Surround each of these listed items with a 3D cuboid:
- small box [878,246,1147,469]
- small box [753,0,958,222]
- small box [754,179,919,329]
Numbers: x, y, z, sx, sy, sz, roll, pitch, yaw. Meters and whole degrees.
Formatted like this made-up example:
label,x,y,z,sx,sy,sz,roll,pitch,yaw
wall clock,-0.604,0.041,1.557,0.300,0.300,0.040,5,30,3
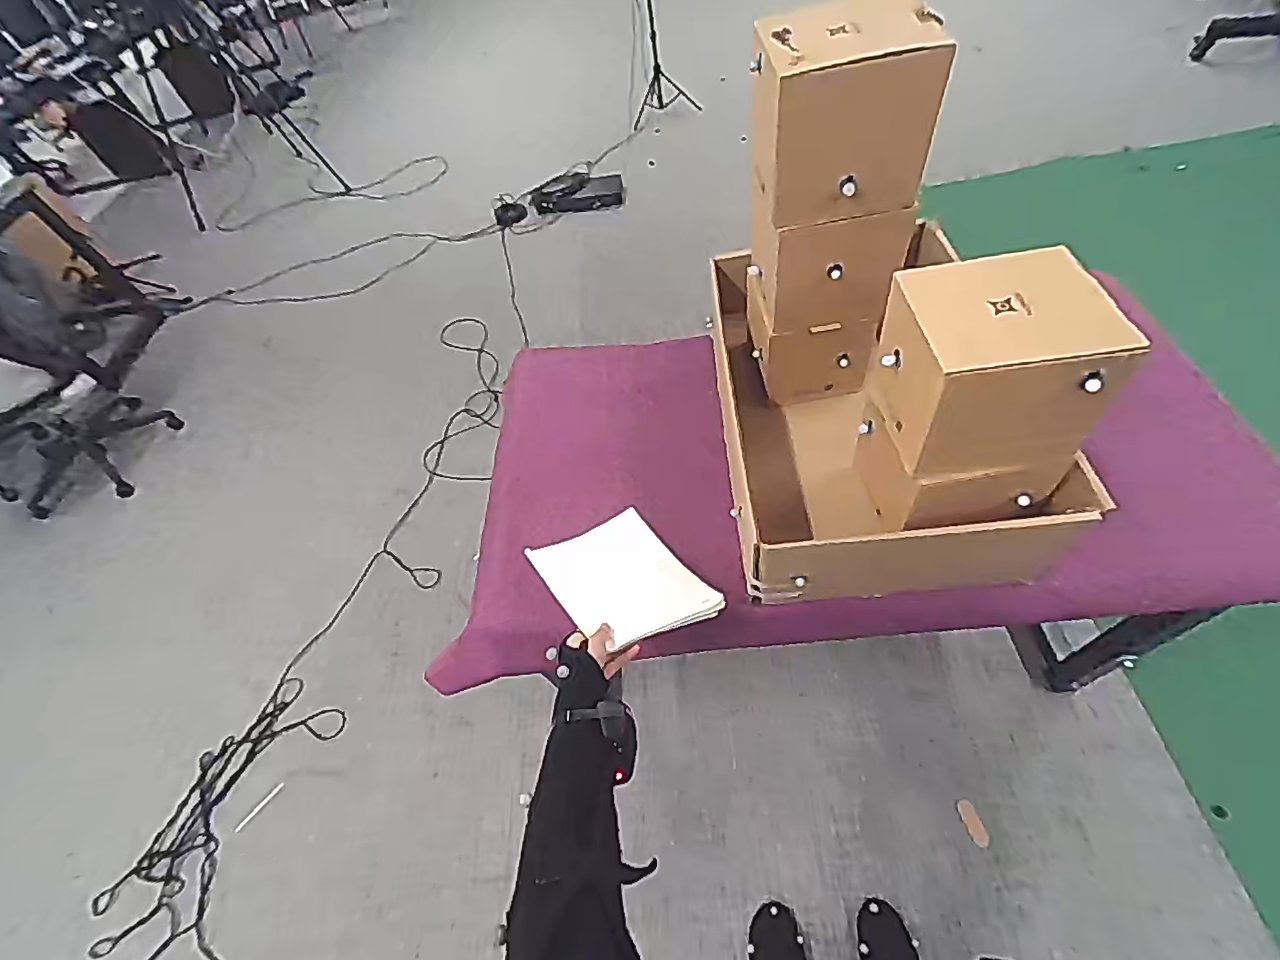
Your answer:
label,x,y,z,sx,sy,sz,roll,pitch,yaw
small box,0.378,-0.127,0.597,0.179,0.176,0.168,-6,53,7
small box,0.237,-0.439,0.649,0.179,0.176,0.168,-6,55,6
small box,0.266,-0.344,0.780,0.179,0.176,0.168,-9,55,6
